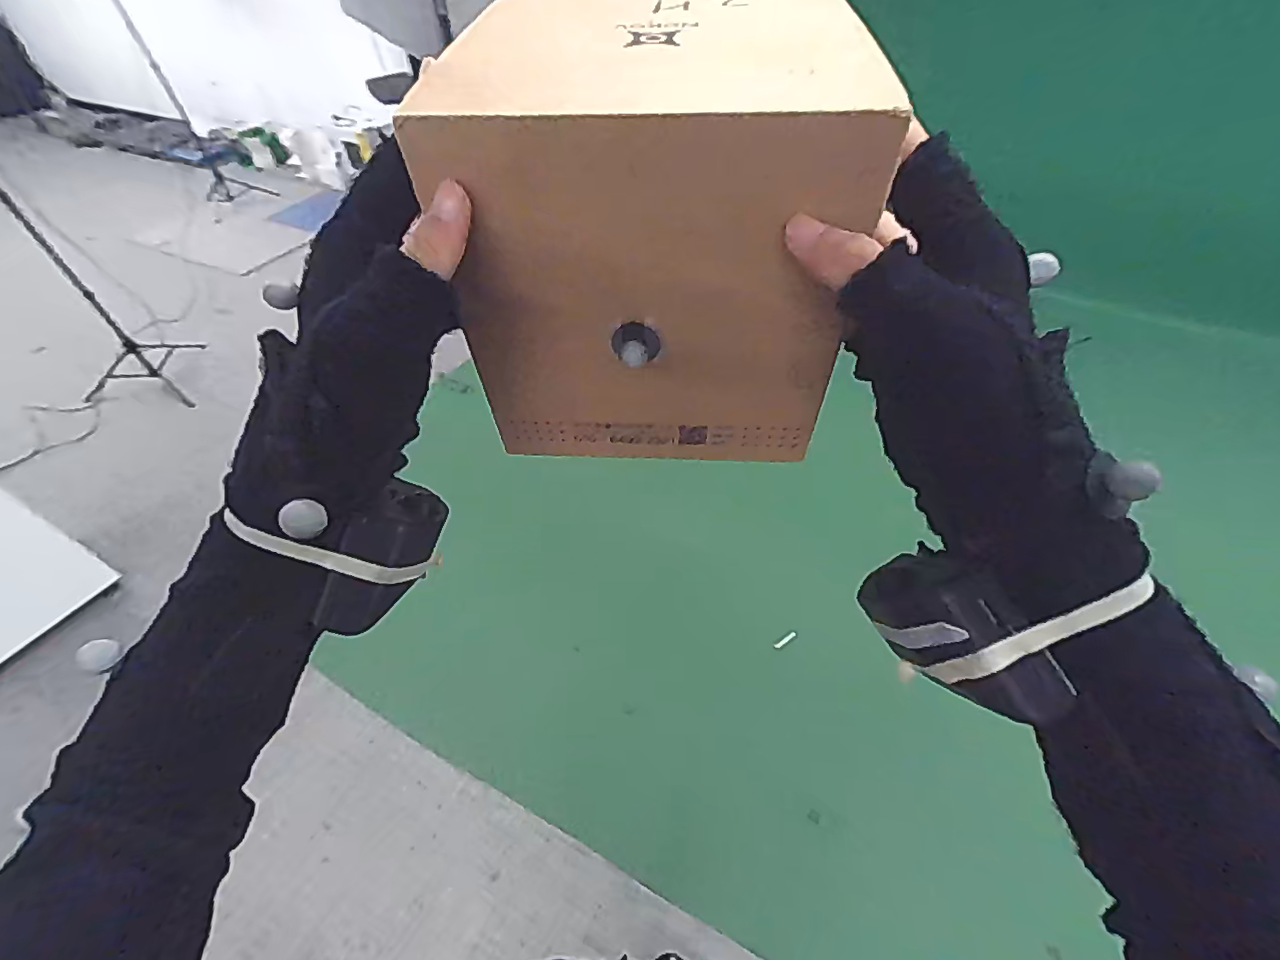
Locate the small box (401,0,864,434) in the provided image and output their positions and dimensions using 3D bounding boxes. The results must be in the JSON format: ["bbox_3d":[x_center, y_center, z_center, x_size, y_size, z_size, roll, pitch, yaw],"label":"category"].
[{"bbox_3d":[0.005,-0.141,0.298,0.168,0.176,0.179,3,51,4],"label":"small box"}]
